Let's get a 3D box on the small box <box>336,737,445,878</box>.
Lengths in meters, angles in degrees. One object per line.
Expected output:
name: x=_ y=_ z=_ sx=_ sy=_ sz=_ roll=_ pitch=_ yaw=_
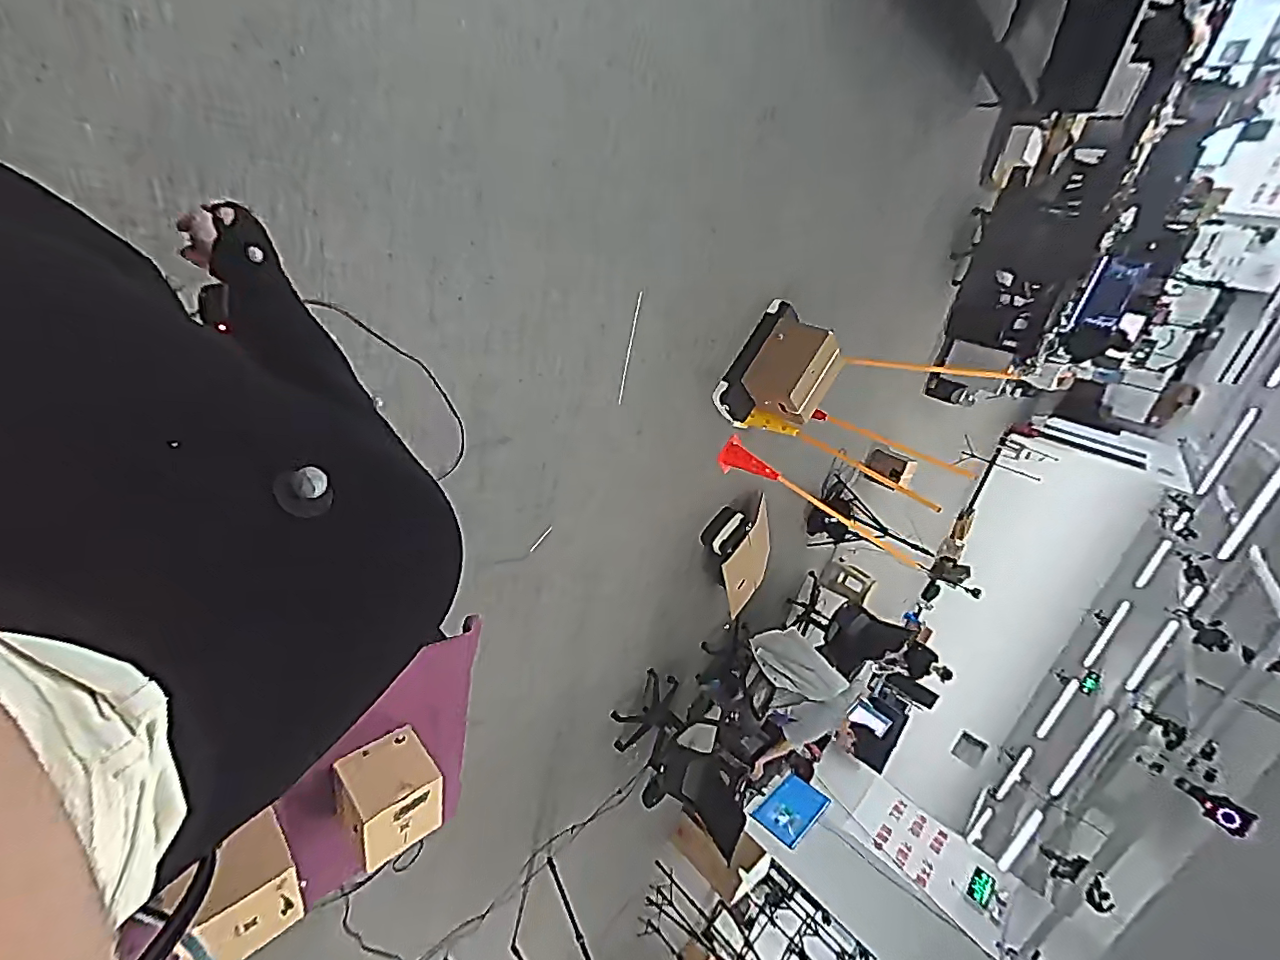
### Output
small box: x=-0.547 y=0.700 z=1.184 sx=0.168 sy=0.176 sz=0.179 roll=-16 pitch=126 yaw=-44

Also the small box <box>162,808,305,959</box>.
small box: x=-0.744 y=0.758 z=0.989 sx=0.179 sy=0.176 sz=0.168 roll=-16 pitch=125 yaw=-44
